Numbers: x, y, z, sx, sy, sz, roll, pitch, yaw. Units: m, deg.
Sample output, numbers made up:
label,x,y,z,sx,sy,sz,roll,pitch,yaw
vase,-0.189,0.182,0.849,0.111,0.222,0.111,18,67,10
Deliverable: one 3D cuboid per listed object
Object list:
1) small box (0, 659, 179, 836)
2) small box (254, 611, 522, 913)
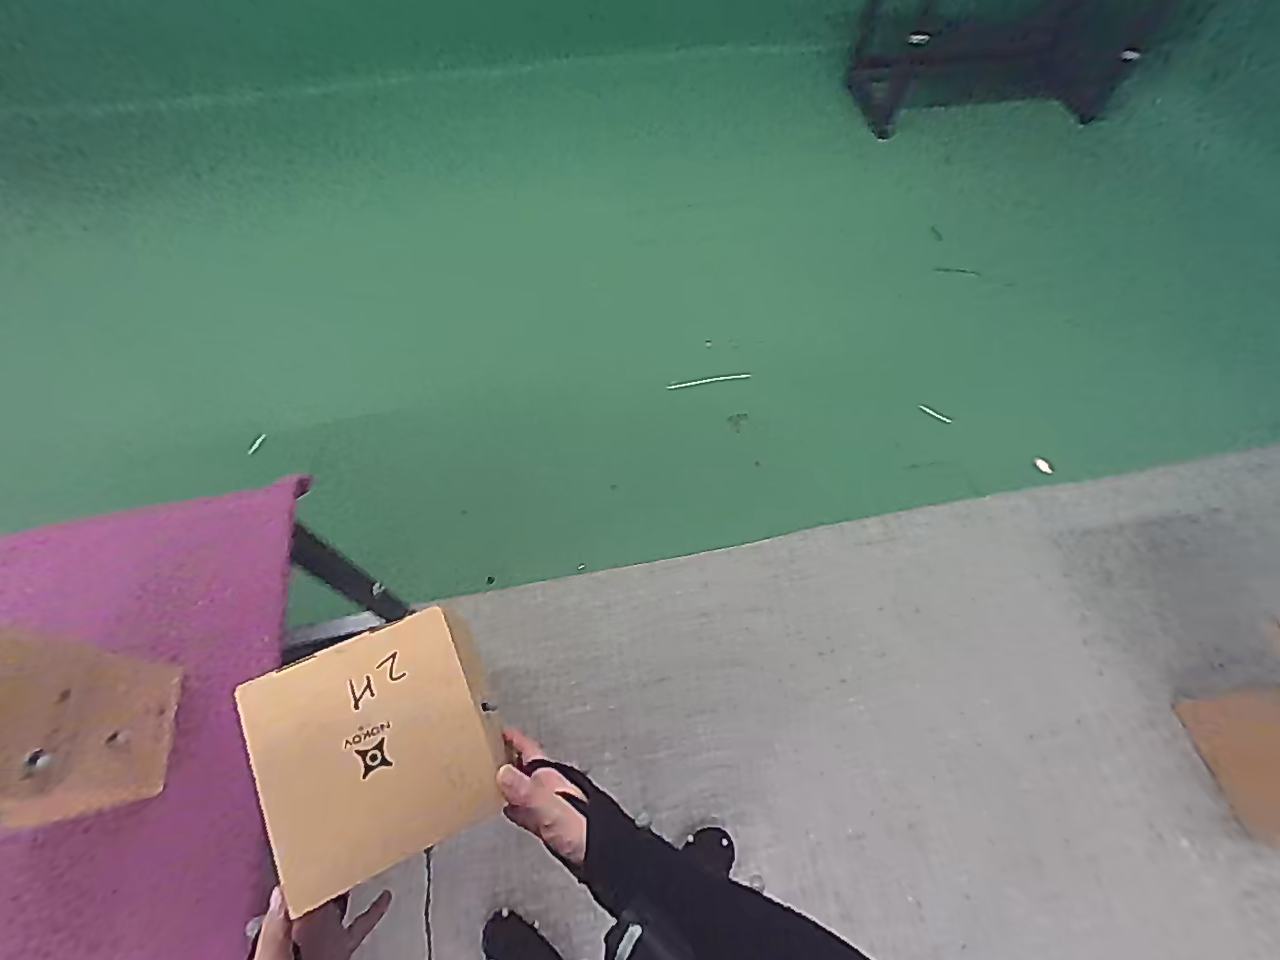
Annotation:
label,x,y,z,sx,sy,sz,roll,pitch,yaw
small box,-0.748,0.343,0.693,0.179,0.176,0.168,-13,62,-5
small box,-0.217,0.241,0.508,0.168,0.176,0.179,-19,74,-16
